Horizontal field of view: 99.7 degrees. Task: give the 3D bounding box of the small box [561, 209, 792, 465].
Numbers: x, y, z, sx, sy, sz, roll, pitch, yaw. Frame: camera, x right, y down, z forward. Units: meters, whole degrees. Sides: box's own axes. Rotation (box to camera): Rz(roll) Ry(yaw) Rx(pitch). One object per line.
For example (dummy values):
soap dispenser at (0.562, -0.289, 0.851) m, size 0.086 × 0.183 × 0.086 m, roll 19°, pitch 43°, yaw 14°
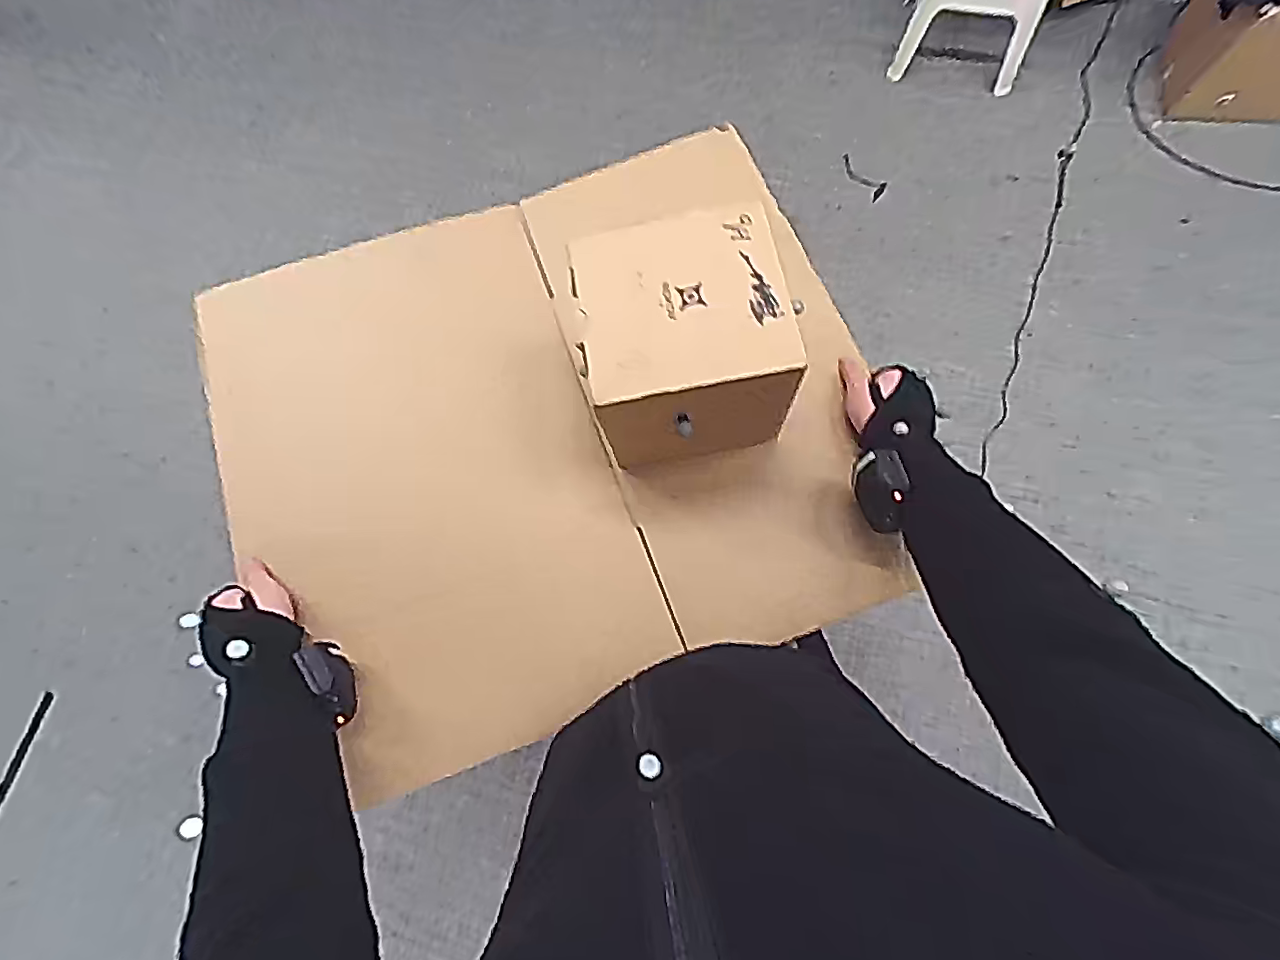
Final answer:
small box at (0.035, -0.125, 0.535) m, size 0.179 × 0.176 × 0.168 m, roll -12°, pitch 75°, yaw 3°
